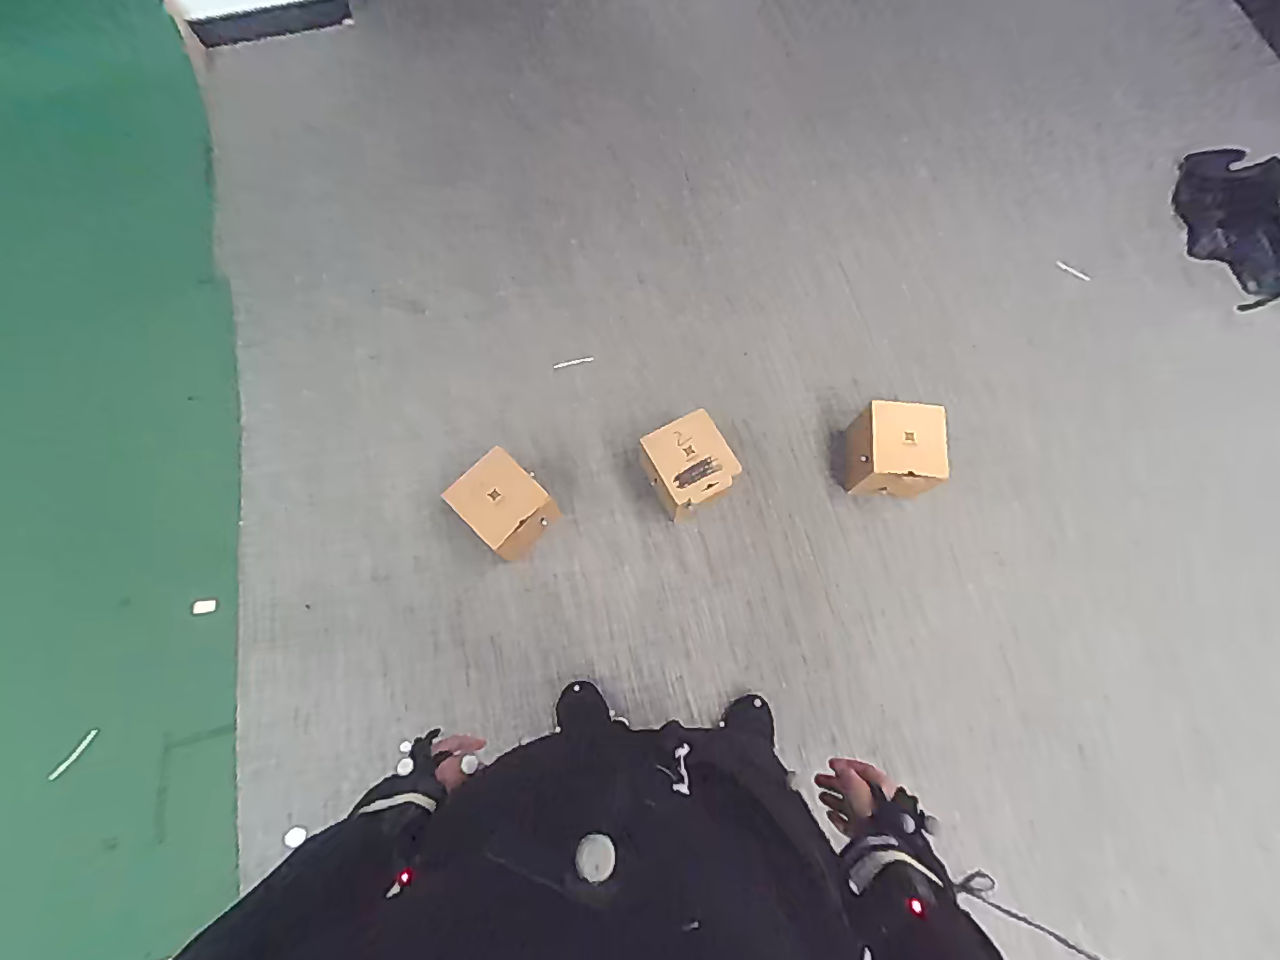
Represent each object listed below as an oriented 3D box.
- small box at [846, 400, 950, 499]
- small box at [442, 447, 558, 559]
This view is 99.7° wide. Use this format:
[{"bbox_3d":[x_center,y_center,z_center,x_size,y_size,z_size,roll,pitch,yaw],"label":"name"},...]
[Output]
[{"bbox_3d":[0.593,-0.067,1.263,0.168,0.176,0.179,5,73,1],"label":"small box"},{"bbox_3d":[-0.306,0.061,1.225,0.179,0.176,0.168,42,76,13],"label":"small box"}]
